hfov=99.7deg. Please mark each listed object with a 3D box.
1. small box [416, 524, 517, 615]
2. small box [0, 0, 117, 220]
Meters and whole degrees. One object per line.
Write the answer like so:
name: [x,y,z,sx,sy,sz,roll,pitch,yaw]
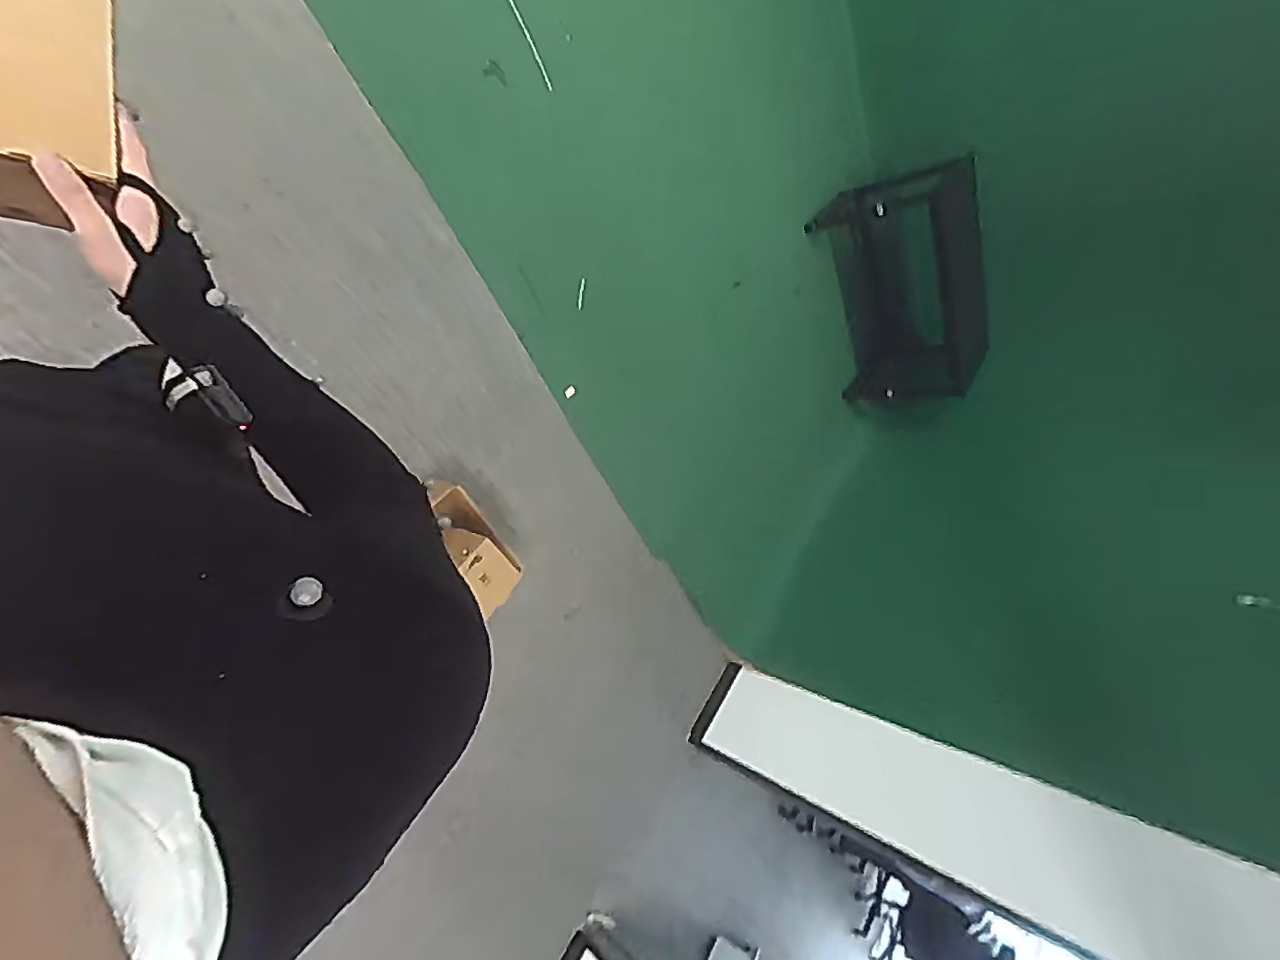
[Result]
small box: [-0.487,0.243,1.516,0.168,0.176,0.179,-51,129,-28]
small box: [-0.539,-0.336,0.428,0.168,0.176,0.179,-4,98,-47]
